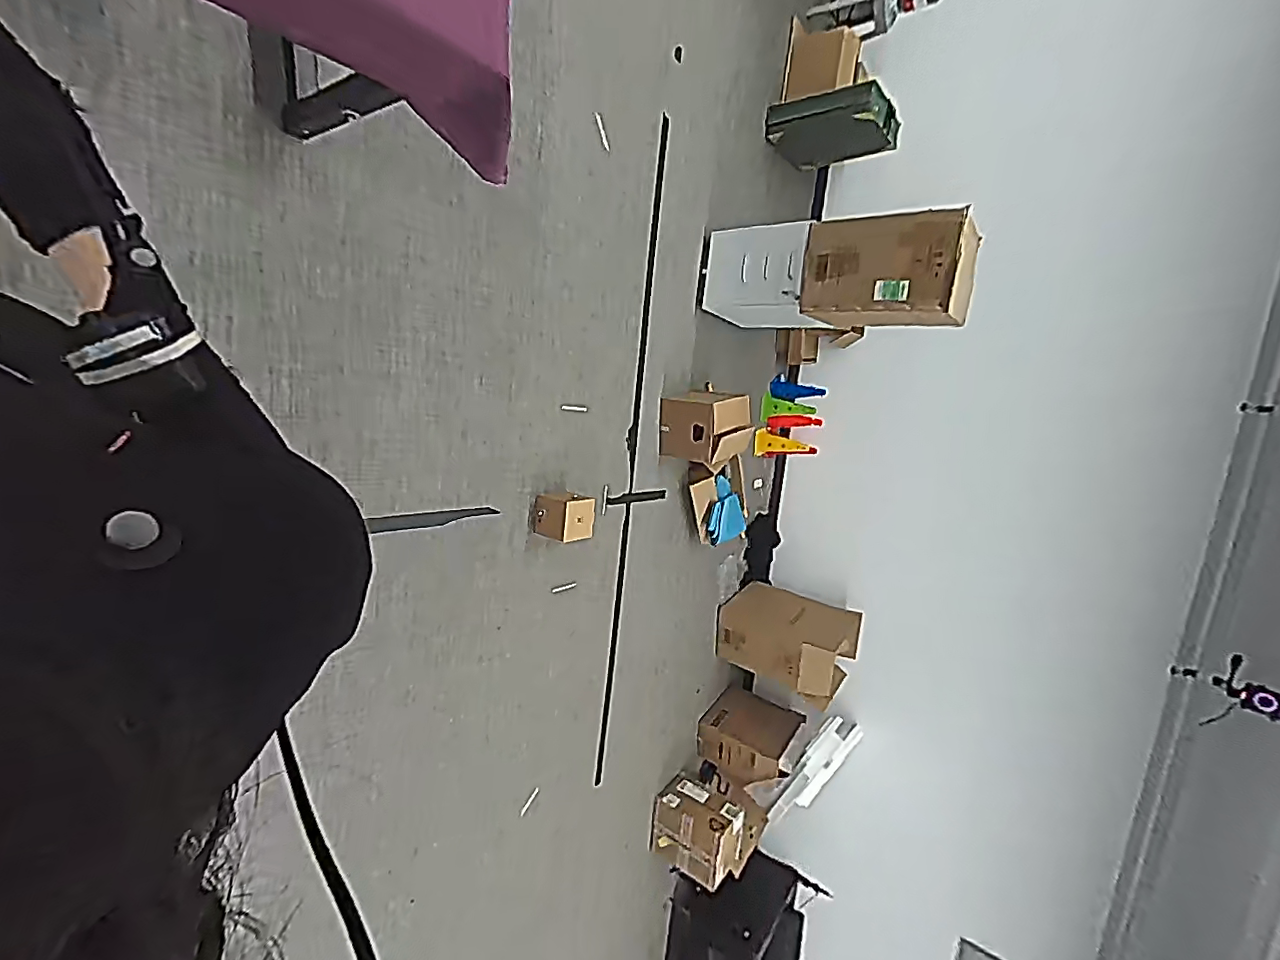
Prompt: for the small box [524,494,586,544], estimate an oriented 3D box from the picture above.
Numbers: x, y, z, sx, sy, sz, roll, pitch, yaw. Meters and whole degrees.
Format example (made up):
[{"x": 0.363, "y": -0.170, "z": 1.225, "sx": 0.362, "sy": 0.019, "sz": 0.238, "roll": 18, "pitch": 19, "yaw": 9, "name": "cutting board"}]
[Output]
[{"x": -0.346, "y": 0.155, "z": 2.203, "sx": 0.179, "sy": 0.176, "sz": 0.168, "roll": -4, "pitch": 103, "yaw": -55, "name": "small box"}]
